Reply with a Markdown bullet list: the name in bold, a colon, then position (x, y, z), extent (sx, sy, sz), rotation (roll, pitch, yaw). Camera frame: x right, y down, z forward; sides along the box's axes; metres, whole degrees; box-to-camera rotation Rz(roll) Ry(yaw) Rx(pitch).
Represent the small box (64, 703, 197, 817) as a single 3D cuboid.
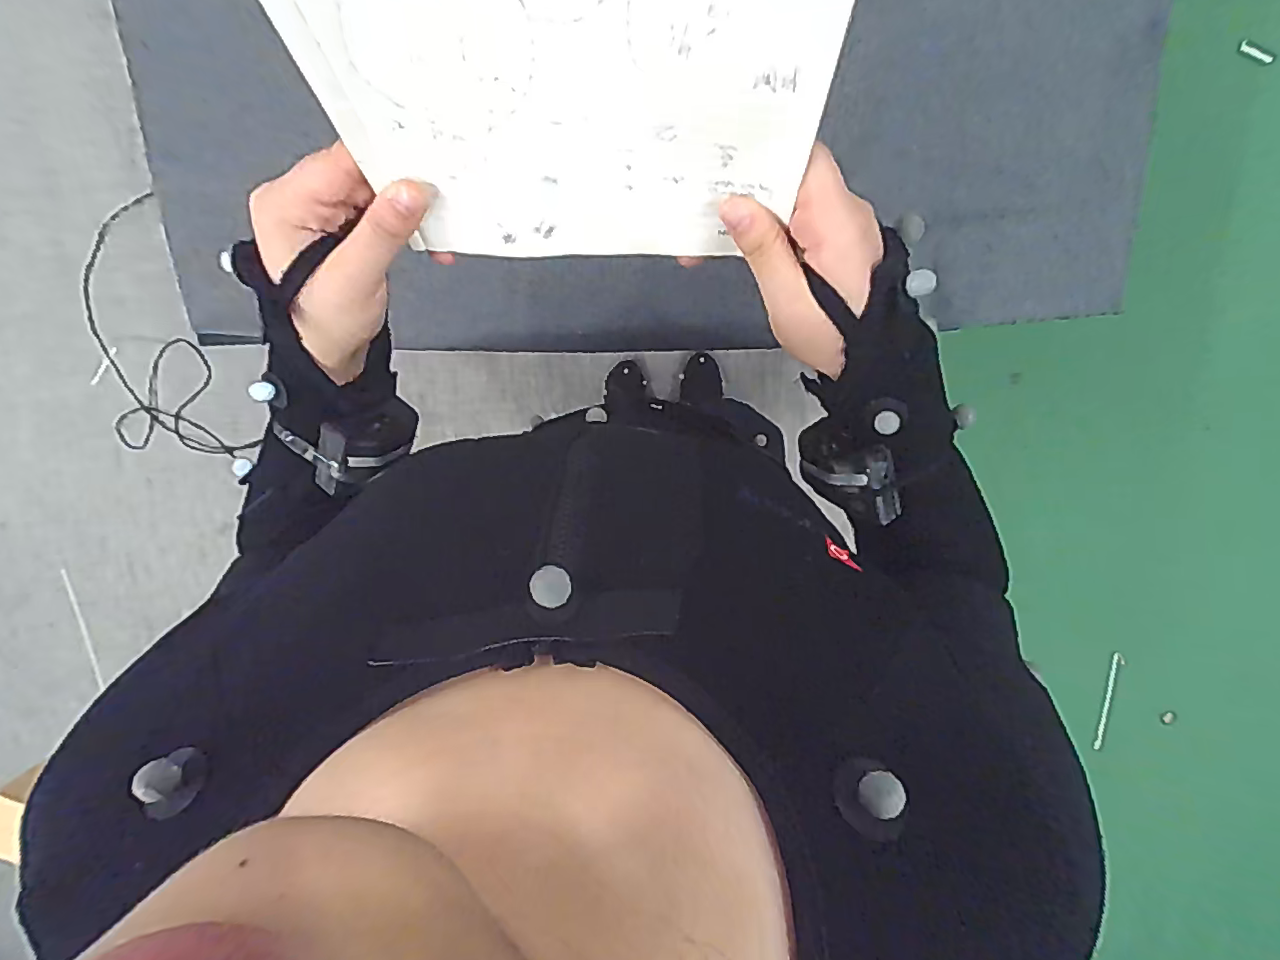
- **small box**: position (-1.267, 0.694, 1.357), extent (0.179, 0.176, 0.168), rotation (20, 103, -3)
